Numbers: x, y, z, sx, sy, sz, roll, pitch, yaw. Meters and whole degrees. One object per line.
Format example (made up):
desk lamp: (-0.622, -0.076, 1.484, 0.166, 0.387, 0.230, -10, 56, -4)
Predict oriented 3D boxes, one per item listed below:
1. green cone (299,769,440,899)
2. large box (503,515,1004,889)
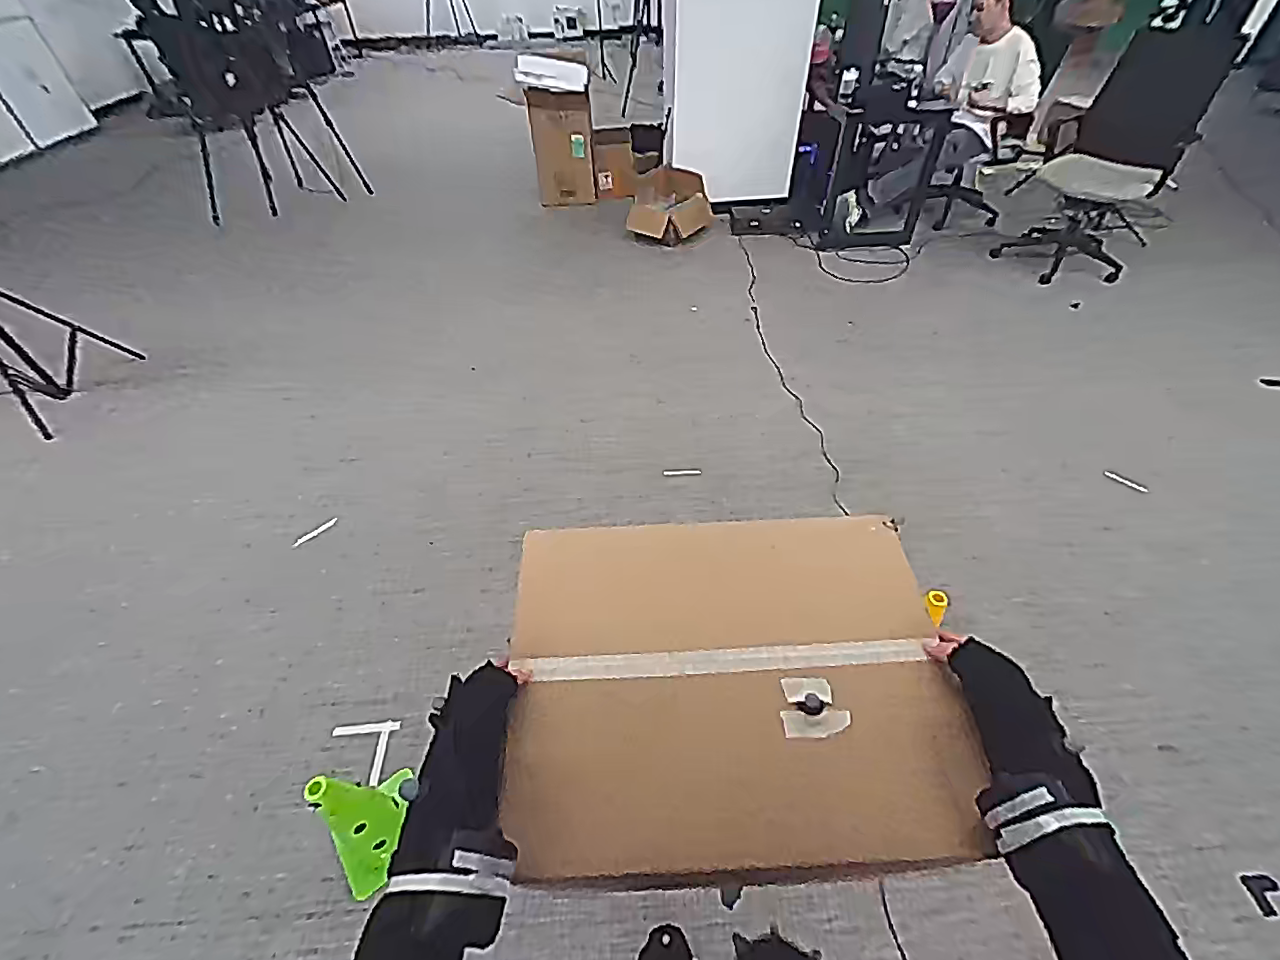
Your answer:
green cone: (-0.603, 0.701, 1.140, 0.202, 0.368, 0.200, -33, 53, -24)
large box: (0.083, 0.261, 0.626, 0.408, 0.320, 0.320, -2, 51, -1)
